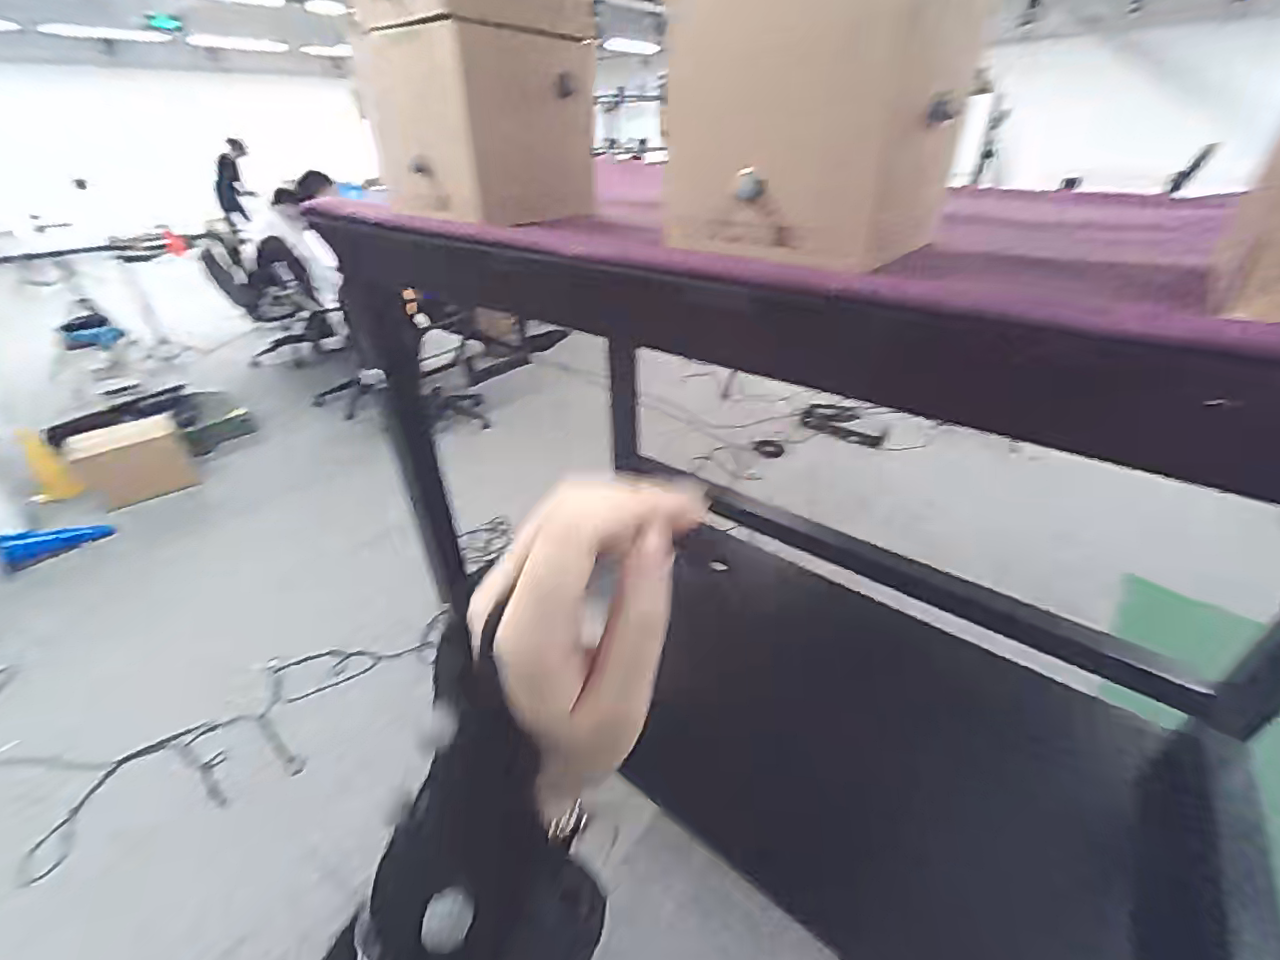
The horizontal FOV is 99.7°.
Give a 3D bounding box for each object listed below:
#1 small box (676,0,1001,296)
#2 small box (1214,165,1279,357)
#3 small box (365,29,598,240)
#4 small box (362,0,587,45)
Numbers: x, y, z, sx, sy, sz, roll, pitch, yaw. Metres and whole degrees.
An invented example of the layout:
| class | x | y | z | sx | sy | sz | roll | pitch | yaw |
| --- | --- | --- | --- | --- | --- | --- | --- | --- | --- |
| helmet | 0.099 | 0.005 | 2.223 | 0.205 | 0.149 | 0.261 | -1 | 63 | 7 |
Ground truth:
| class | x | y | z | sx | sy | sz | roll | pitch | yaw |
| --- | --- | --- | --- | --- | --- | --- | --- | --- | --- |
| small box | 0.138 | -0.254 | 0.412 | 0.168 | 0.176 | 0.179 | 24 | 42 | 33 |
| small box | 0.404 | -0.141 | 0.235 | 0.168 | 0.176 | 0.179 | 25 | 43 | 34 |
| small box | -0.163 | -0.375 | 0.599 | 0.168 | 0.176 | 0.179 | 23 | 40 | 32 |
| small box | -0.162 | -0.510 | 0.508 | 0.168 | 0.176 | 0.179 | 25 | 41 | 34 |
